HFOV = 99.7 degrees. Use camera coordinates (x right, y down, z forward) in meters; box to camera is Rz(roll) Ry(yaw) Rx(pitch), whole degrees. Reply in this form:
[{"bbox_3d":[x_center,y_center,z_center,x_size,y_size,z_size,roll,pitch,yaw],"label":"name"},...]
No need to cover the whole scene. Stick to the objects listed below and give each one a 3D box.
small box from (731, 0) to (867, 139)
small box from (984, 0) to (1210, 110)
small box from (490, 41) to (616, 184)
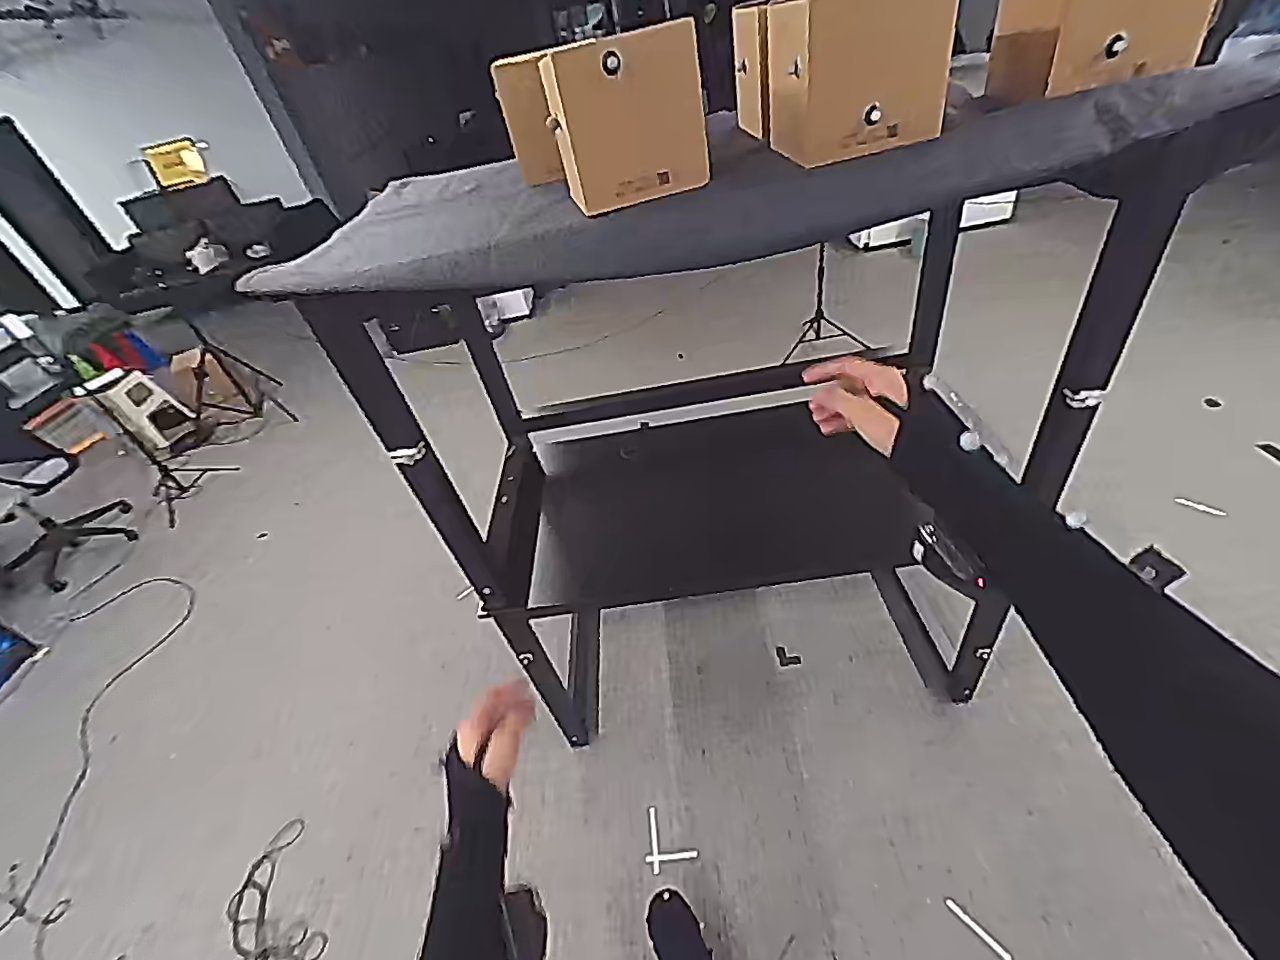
[{"bbox_3d":[0.247,-0.659,0.857,0.168,0.176,0.179,-11,39,3],"label":"small box"},{"bbox_3d":[0.572,-0.590,0.688,0.168,0.176,0.179,-7,41,9],"label":"small box"},{"bbox_3d":[-0.139,-0.622,0.919,0.168,0.176,0.179,-11,41,3],"label":"small box"}]
